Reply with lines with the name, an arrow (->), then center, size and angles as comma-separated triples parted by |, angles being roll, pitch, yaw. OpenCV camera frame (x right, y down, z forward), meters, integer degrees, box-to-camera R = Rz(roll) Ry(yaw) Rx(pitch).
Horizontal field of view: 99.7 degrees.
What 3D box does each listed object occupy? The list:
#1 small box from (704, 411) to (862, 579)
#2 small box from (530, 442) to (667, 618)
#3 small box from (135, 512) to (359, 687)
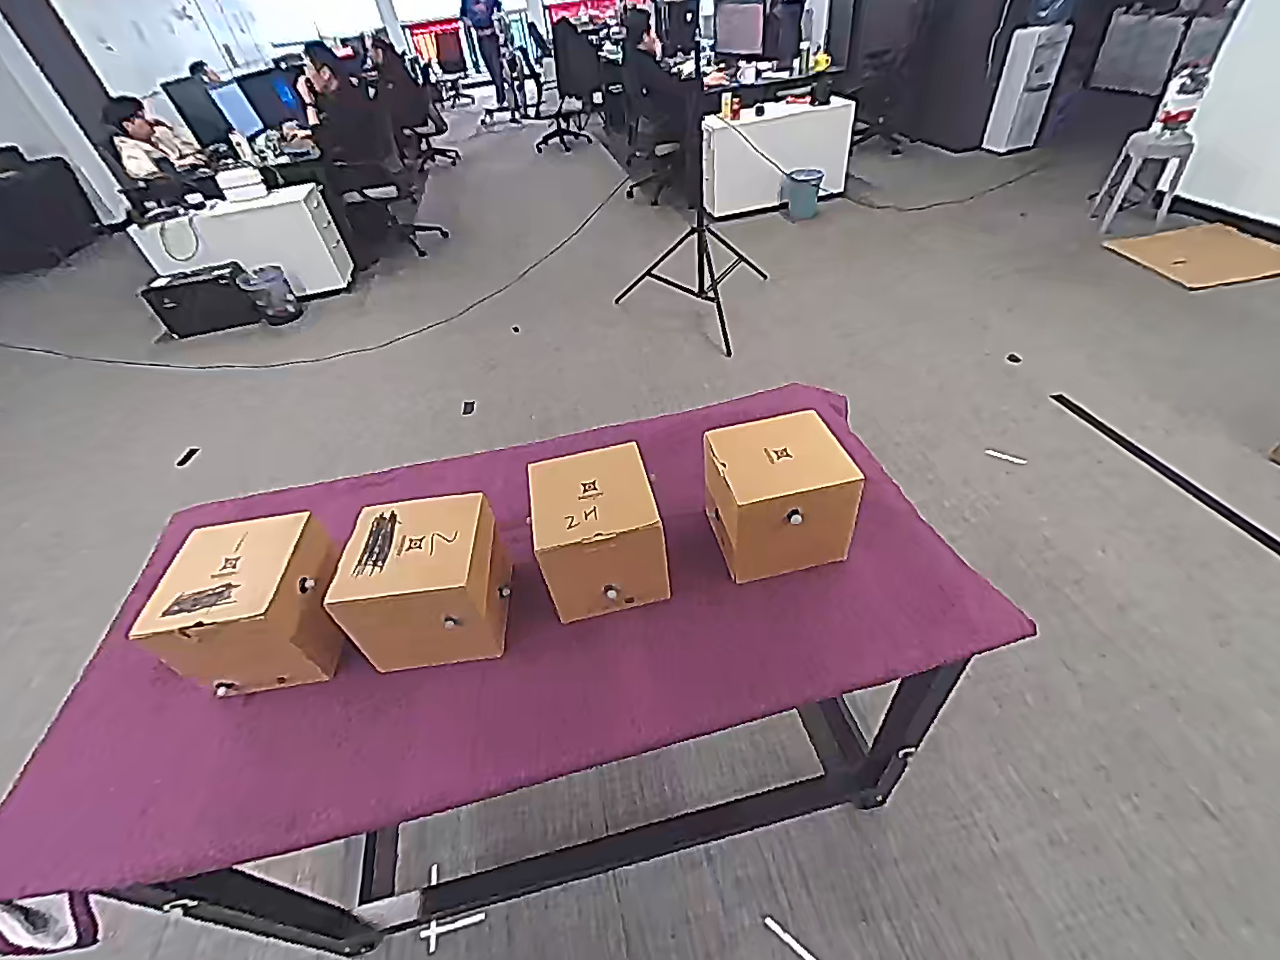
small box -> 0.201, 0.024, 0.812 | 0.179, 0.176, 0.168 | -12, 41, -4
small box -> -0.061, 0.073, 0.800 | 0.168, 0.176, 0.179 | -13, 43, -4
small box -> -0.527, 0.173, 0.763 | 0.168, 0.176, 0.179 | -9, 43, -1
